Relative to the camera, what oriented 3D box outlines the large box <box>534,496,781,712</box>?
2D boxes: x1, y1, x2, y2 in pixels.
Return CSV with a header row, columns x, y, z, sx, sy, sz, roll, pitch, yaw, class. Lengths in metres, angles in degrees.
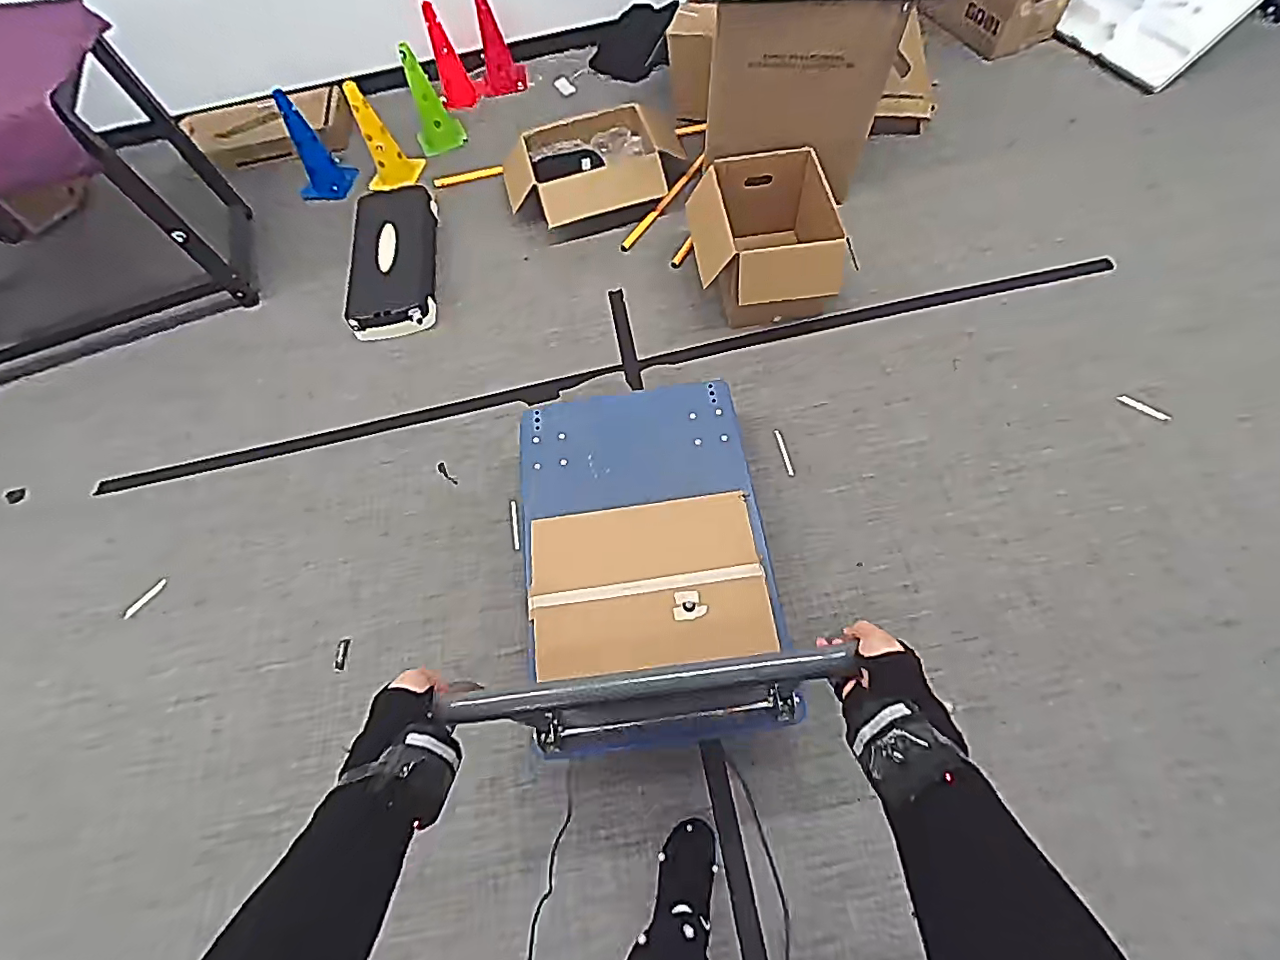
x,y,z,sx,sy,sz,roll,pitch,yaw,class
0.025,0.261,1.082,0.408,0.320,0.320,-8,64,0,large box
